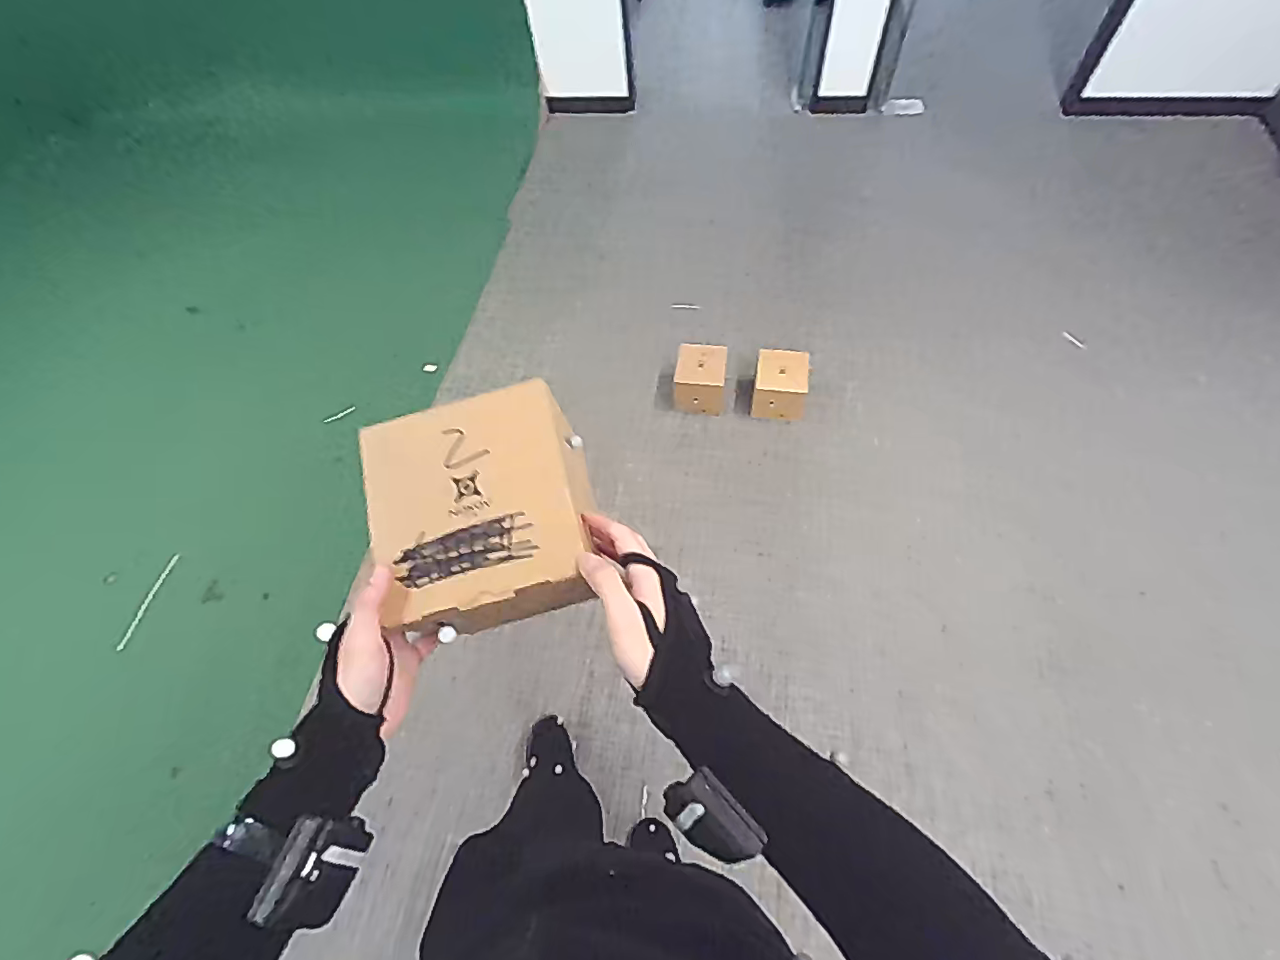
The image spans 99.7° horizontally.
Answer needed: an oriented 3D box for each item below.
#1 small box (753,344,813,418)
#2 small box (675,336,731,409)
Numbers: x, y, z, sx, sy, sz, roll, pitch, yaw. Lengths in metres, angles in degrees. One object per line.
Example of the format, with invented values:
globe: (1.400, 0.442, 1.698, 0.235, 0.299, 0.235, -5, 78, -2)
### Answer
small box: (0.478, -0.330, 1.822, 0.168, 0.176, 0.179, 8, 62, 9)
small box: (0.215, -0.367, 1.858, 0.168, 0.176, 0.179, 9, 62, 8)
